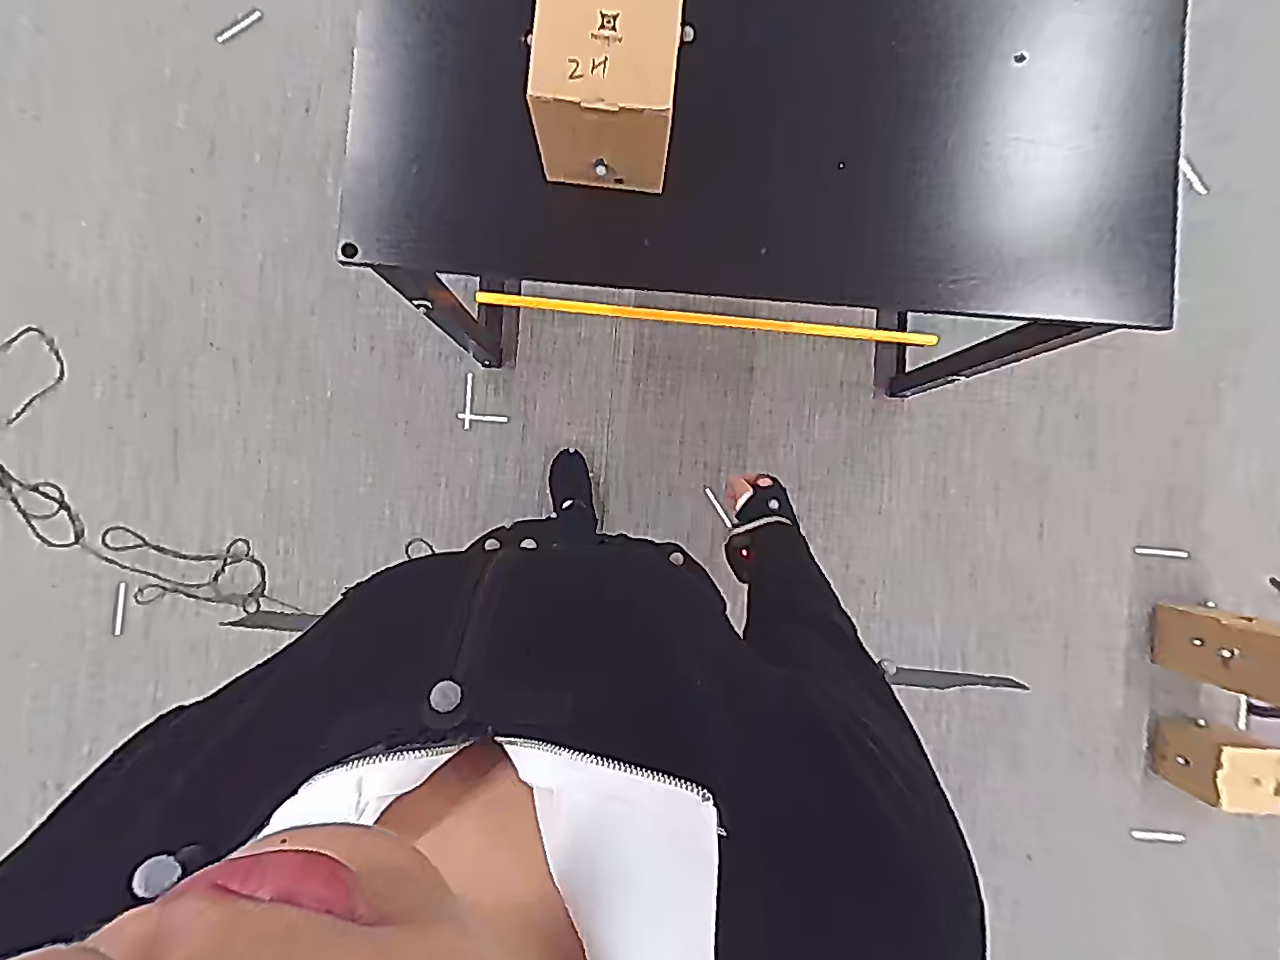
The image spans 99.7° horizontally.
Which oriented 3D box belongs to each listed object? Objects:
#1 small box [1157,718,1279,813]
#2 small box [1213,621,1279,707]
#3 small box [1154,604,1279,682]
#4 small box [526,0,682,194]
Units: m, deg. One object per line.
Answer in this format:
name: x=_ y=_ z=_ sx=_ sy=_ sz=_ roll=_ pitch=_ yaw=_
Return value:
small box: x=1.548 y=0.755 z=1.448 sx=0.179 sy=0.176 sz=0.168 roll=5 pitch=89 yaw=-1
small box: x=1.538 y=0.436 z=1.287 sx=0.179 sy=0.176 sz=0.168 roll=0 pitch=88 yaw=0
small box: x=1.537 y=0.435 z=1.450 sx=0.168 sy=0.176 sz=0.179 roll=3 pitch=90 yaw=-1
small box: x=-0.042 y=-0.505 z=0.693 sx=0.168 sy=0.176 sz=0.179 roll=6 pitch=89 yaw=-1
